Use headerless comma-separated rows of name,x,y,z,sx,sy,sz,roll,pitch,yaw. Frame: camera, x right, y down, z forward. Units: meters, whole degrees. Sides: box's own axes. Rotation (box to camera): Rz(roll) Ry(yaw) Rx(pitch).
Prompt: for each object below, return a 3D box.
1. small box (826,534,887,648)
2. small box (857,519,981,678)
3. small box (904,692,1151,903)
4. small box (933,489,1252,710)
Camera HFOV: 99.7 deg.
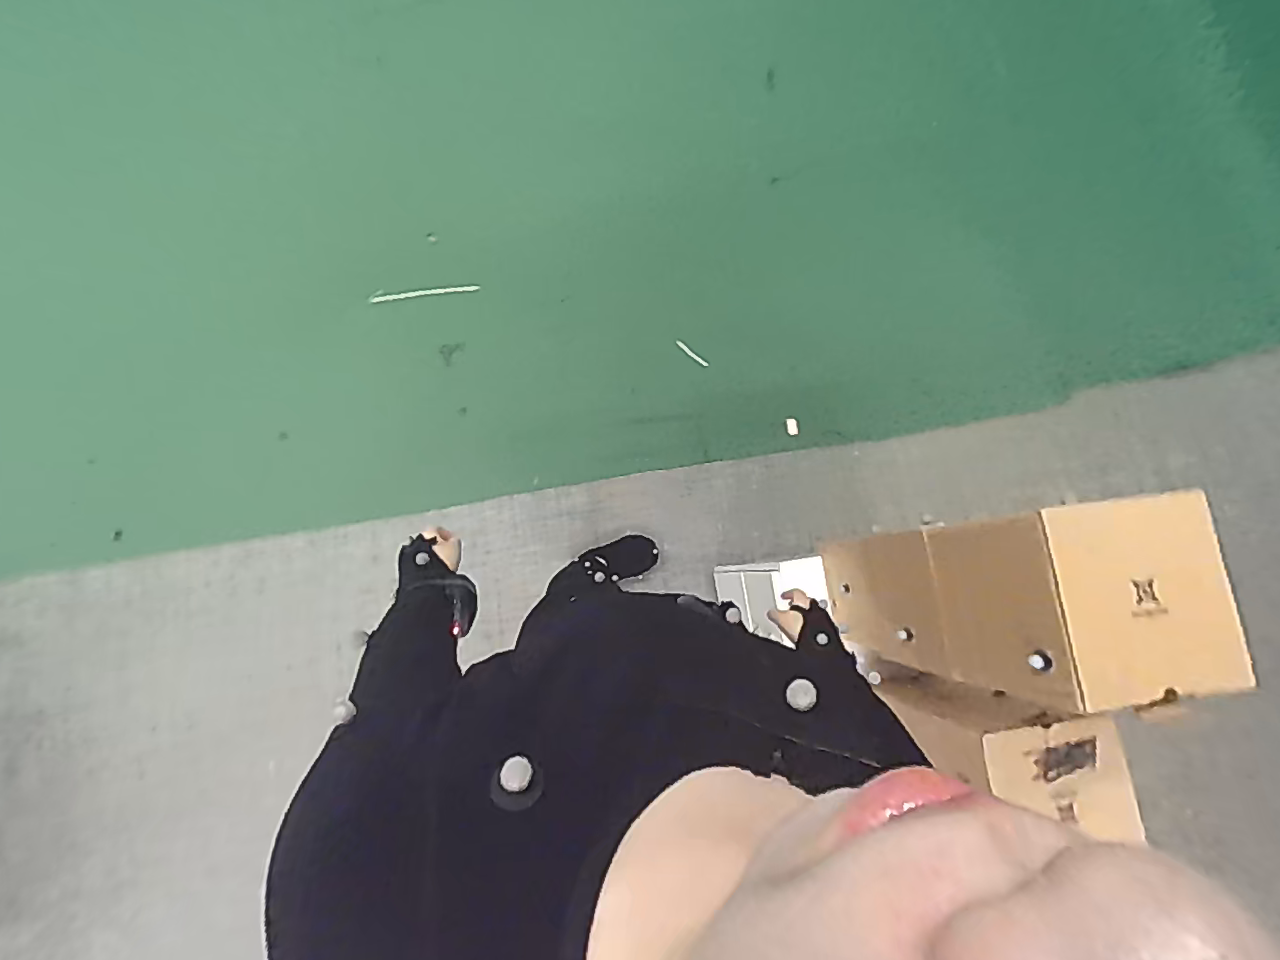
small box,0.416,0.166,0.869,0.179,0.176,0.168,-7,82,-5
small box,0.413,0.142,0.708,0.168,0.176,0.179,-8,81,-7
small box,0.456,0.370,0.669,0.168,0.176,0.179,-5,80,-5
small box,0.431,0.113,0.549,0.168,0.176,0.179,-6,82,-6
